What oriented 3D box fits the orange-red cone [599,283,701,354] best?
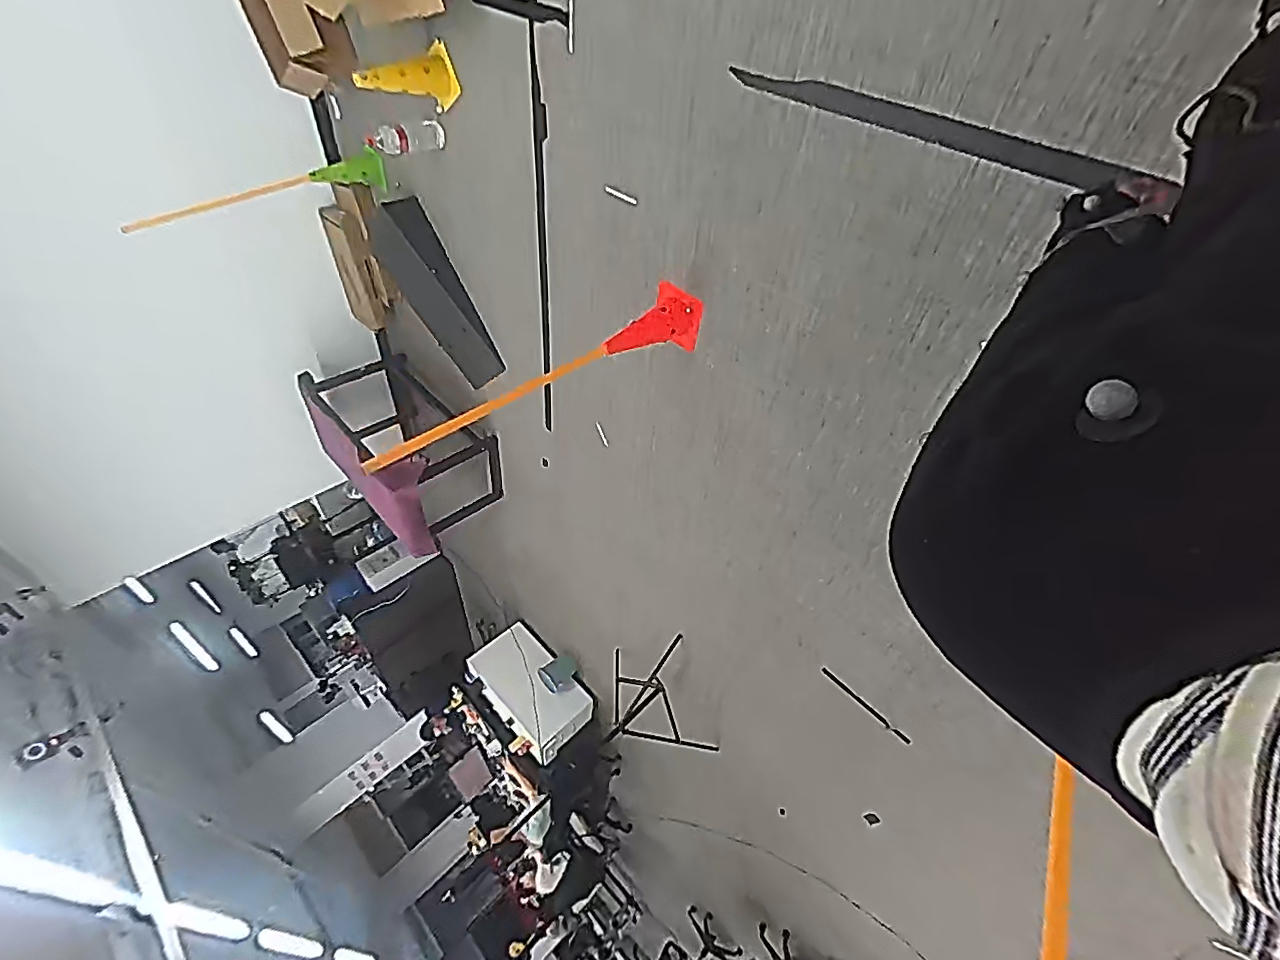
[{"bbox_3d":[0.004,-0.493,1.807,0.199,0.360,0.198,41,143,24],"label":"orange-red cone"}]
